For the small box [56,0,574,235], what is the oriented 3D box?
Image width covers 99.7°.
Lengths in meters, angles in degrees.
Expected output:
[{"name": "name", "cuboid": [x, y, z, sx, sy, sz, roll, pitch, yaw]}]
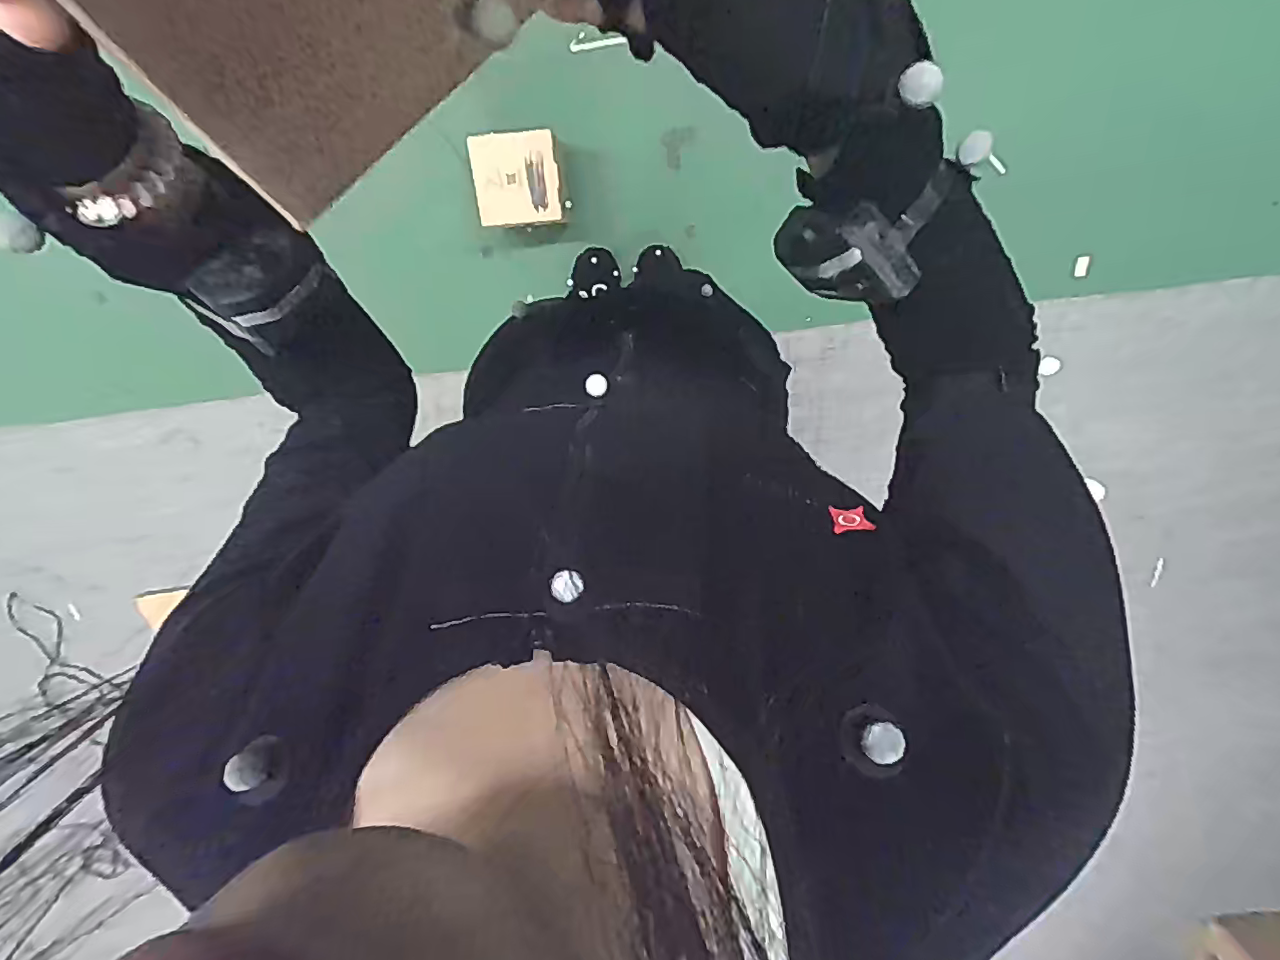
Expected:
[{"name": "small box", "cuboid": [-0.098, -0.199, 0.118, 0.168, 0.176, 0.179, 43, 85, -18]}]
